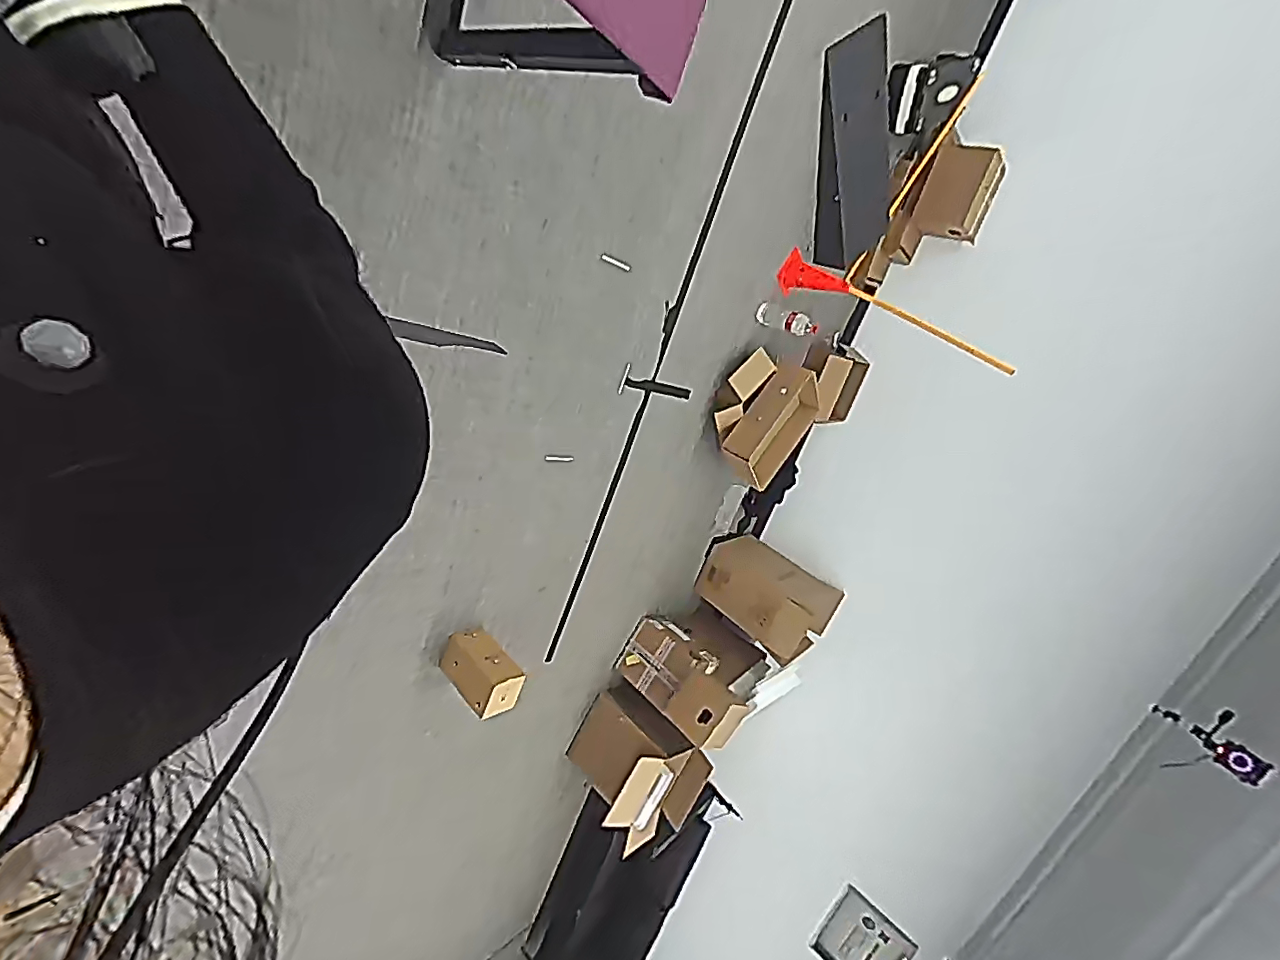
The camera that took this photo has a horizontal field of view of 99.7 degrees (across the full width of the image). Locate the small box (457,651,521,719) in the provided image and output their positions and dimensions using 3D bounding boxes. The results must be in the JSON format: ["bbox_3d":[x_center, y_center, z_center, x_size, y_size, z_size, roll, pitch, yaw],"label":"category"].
[{"bbox_3d":[-0.624,0.837,2.219,0.168,0.176,0.179,4,113,-55],"label":"small box"}]
